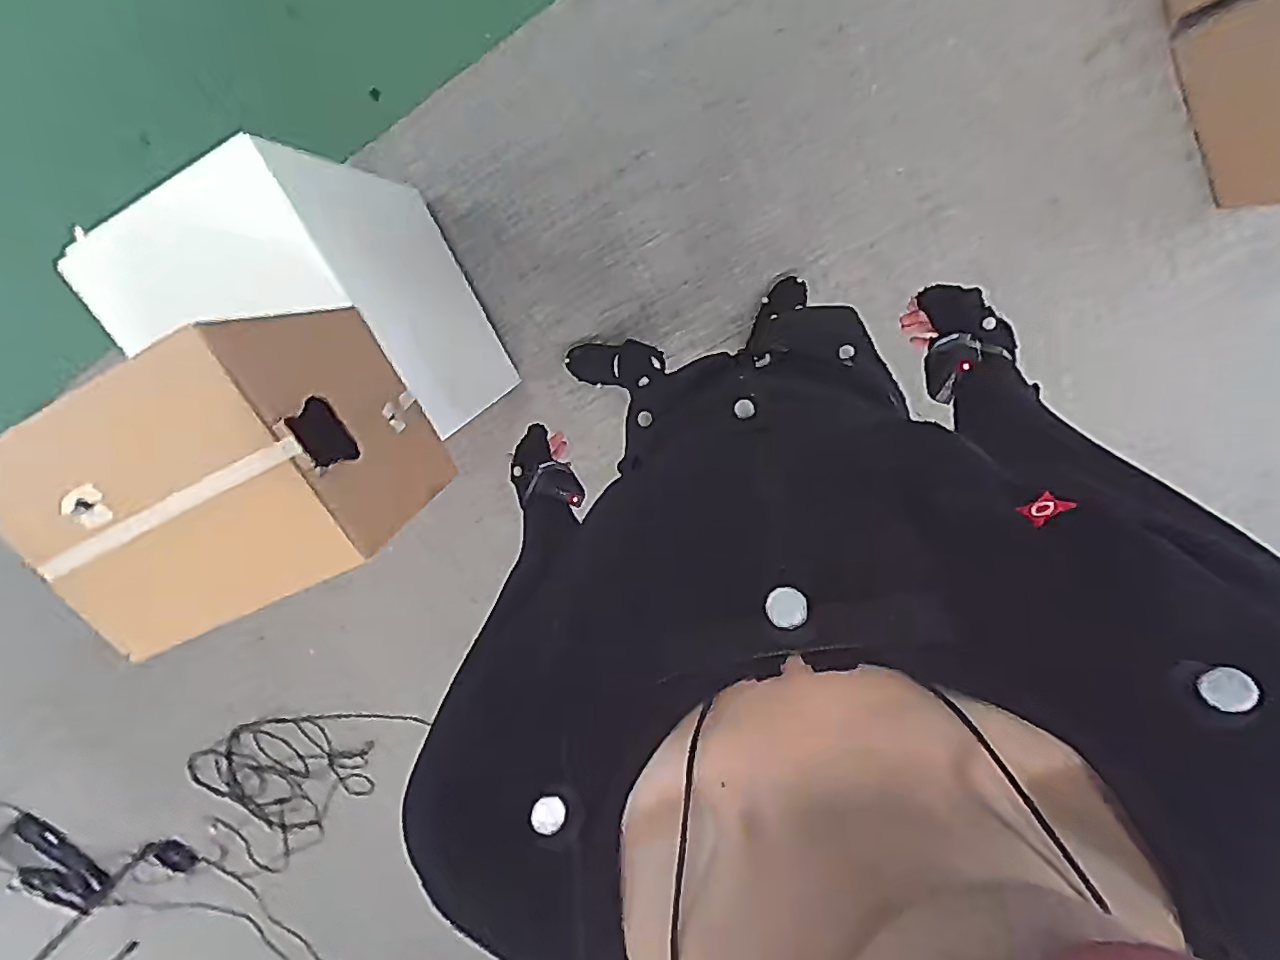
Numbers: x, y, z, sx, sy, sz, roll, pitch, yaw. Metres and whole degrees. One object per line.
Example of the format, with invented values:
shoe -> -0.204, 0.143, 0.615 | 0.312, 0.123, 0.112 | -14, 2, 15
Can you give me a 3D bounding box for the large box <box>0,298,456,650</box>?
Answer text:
large box -> -0.561, -0.025, 0.788 | 0.408, 0.320, 0.320 | -23, 108, 13
